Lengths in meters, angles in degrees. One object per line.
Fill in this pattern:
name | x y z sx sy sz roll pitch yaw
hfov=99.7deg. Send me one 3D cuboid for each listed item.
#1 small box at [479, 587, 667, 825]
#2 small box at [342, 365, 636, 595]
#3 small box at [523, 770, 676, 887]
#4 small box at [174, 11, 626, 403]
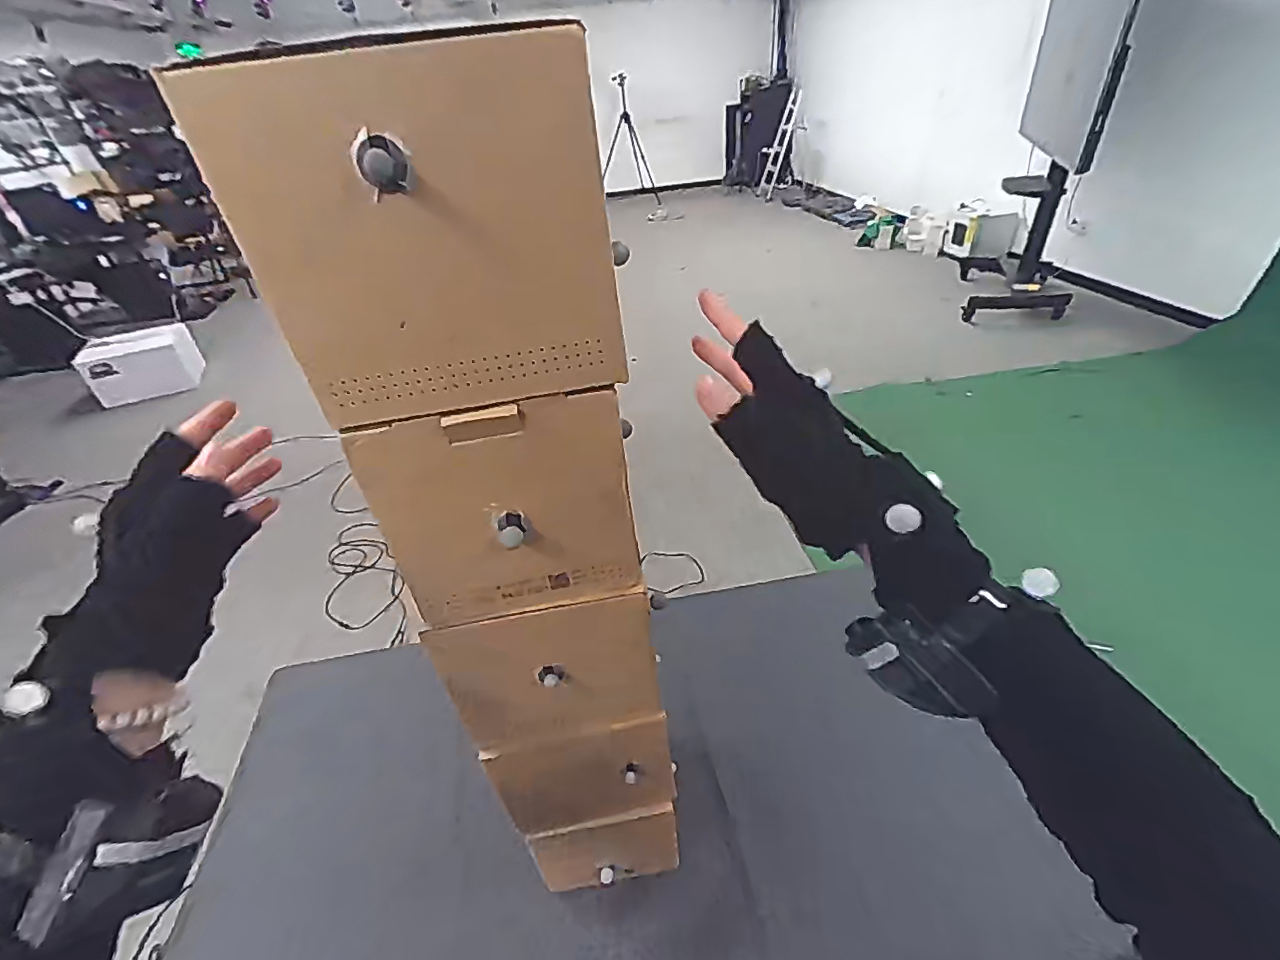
small box | -0.068 0.250 0.606 0.179 0.176 0.168 -10 35 -6
small box | -0.101 -0.026 0.434 0.168 0.176 0.179 -10 35 -5
small box | -0.050 0.383 0.699 0.168 0.176 0.179 -9 36 -3
small box | -0.112 -0.160 0.338 0.179 0.176 0.168 -9 35 -4
